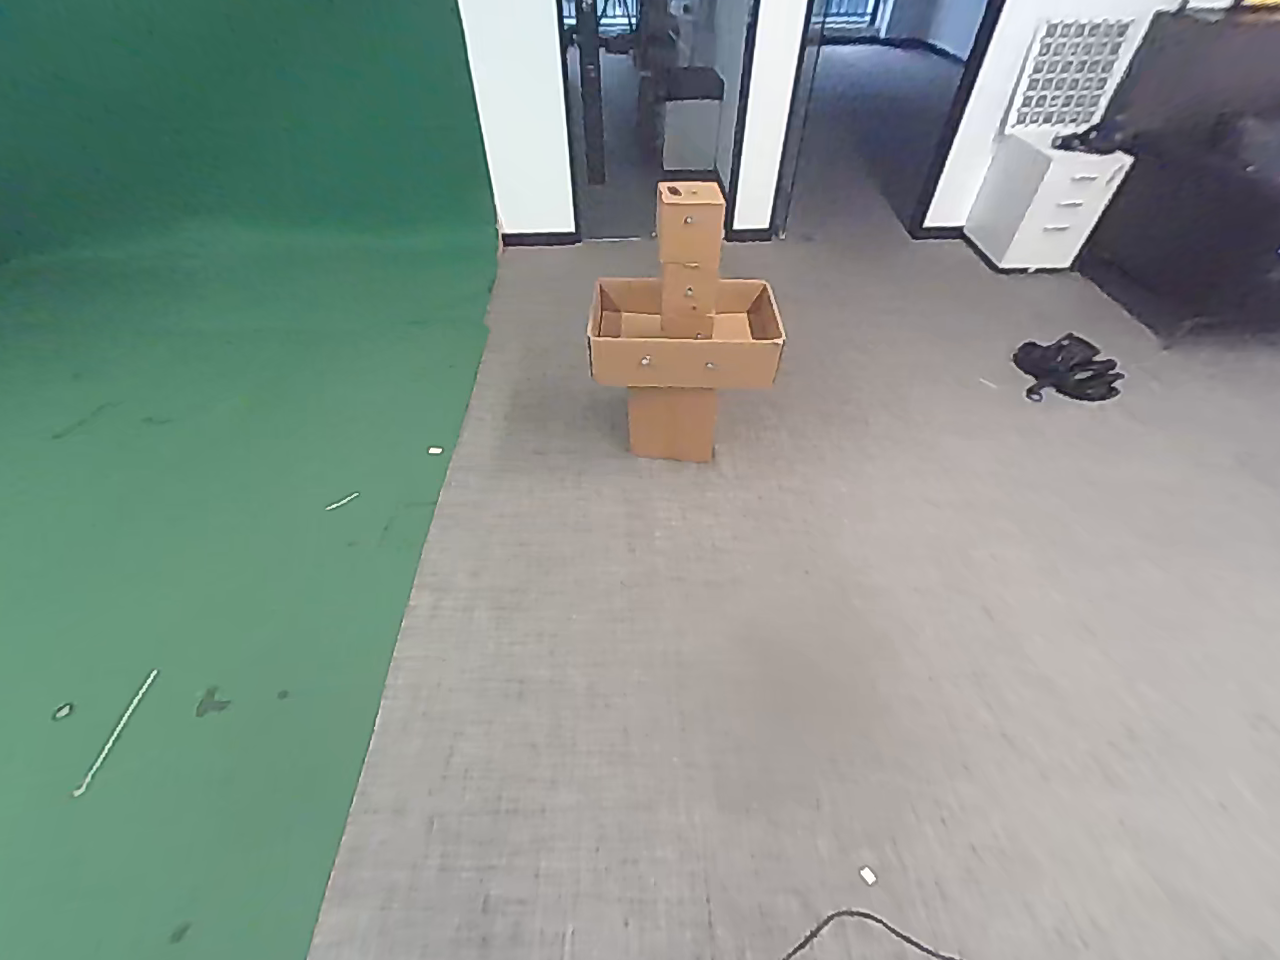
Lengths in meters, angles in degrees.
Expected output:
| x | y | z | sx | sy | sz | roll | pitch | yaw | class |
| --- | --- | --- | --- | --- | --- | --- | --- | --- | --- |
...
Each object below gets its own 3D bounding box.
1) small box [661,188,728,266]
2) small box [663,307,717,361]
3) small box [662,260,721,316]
| x | y | z | sx | sy | sz | roll | pitch | yaw | class |
| --- | --- | --- | --- | --- | --- | --- | --- | --- | --- |
| 0.154 | -0.745 | 1.595 | 0.179 | 0.176 | 0.168 | -1 | 47 | -3 | small box |
| 0.164 | -0.519 | 1.835 | 0.168 | 0.176 | 0.179 | 0 | 45 | -2 | small box |
| 0.159 | -0.634 | 1.718 | 0.168 | 0.176 | 0.179 | 0 | 47 | -2 | small box |
